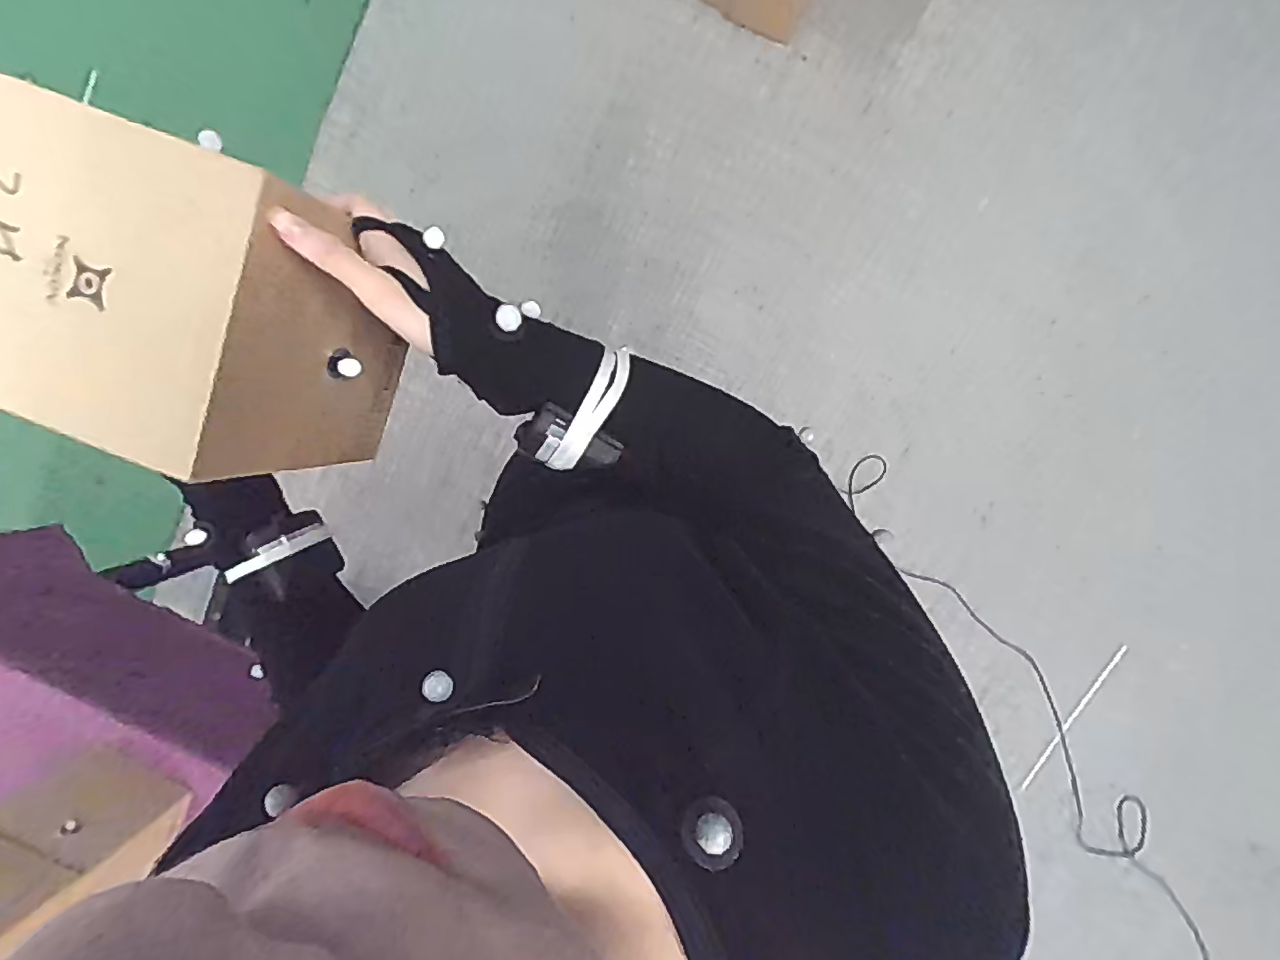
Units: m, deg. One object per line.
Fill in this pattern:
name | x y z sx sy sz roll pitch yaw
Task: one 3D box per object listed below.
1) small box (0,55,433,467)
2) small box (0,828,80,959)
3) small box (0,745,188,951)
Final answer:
small box | -0.273 -0.122 0.365 0.179 0.176 0.168 23 97 4
small box | -0.882 0.577 0.677 0.179 0.176 0.168 26 100 0
small box | -0.863 0.553 0.837 0.179 0.176 0.168 27 100 2
